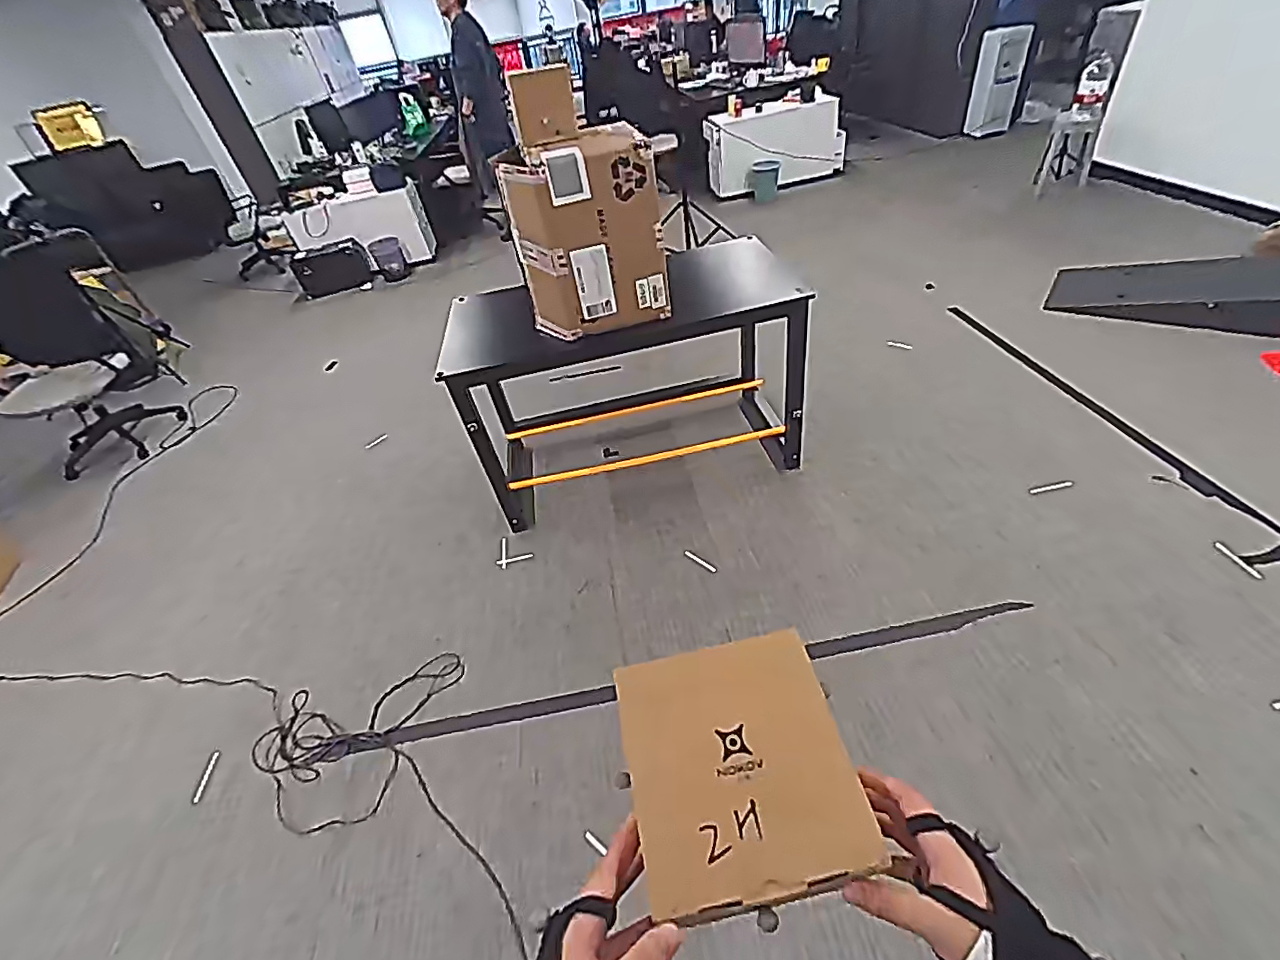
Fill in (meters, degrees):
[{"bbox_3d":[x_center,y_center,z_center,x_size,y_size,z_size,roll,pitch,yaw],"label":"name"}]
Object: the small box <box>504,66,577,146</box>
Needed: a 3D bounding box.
[{"bbox_3d":[-0.285,-1.072,1.551,0.168,0.176,0.179,-15,40,-7],"label":"small box"}]
